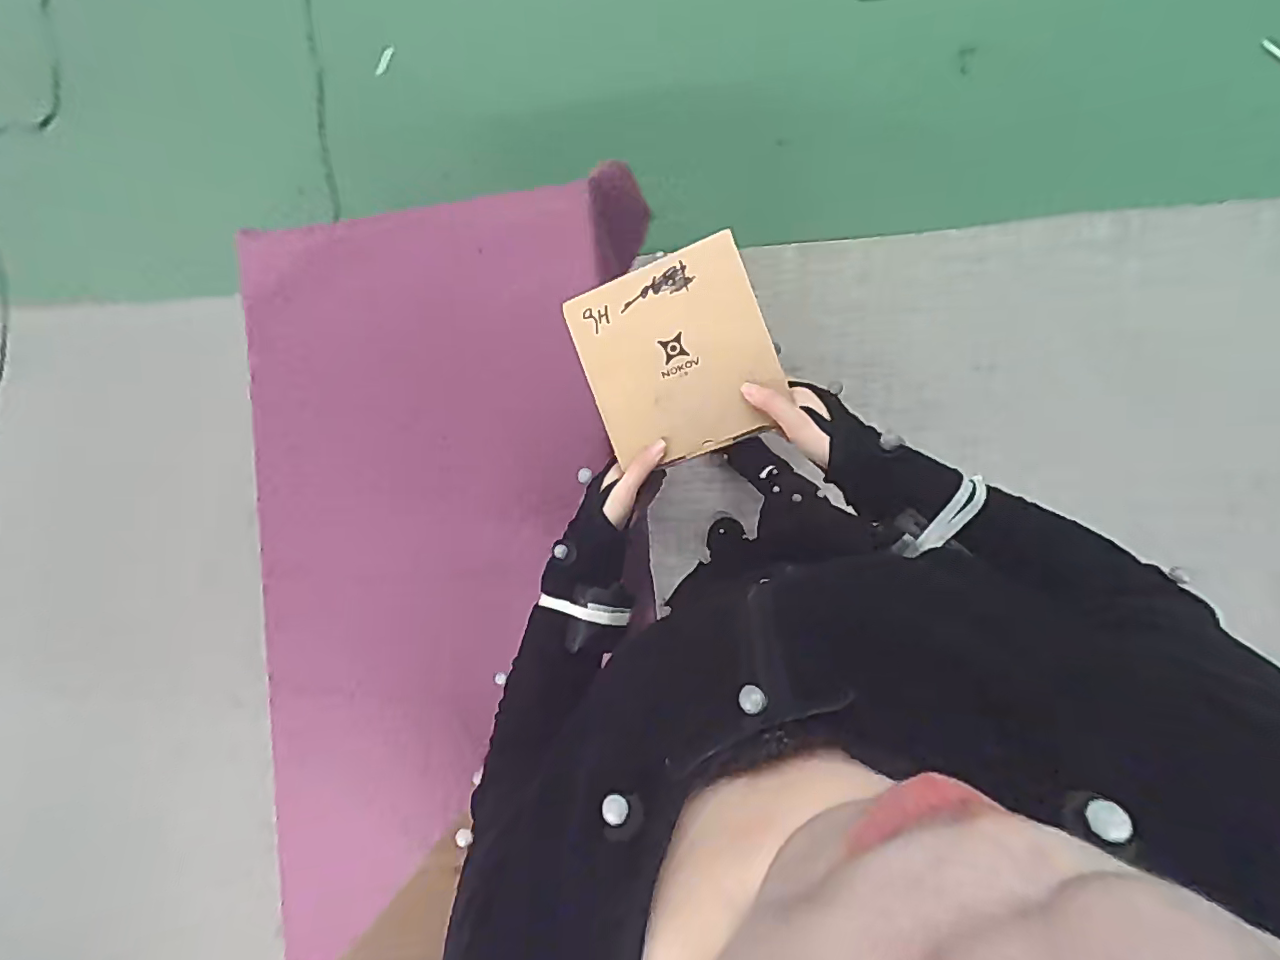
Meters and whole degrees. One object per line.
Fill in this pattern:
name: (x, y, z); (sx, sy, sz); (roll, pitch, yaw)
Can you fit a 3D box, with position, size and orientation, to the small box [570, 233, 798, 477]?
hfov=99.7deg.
small box: (0.052, -0.115, 0.561); (0.168, 0.176, 0.179); (-19, 91, 11)
